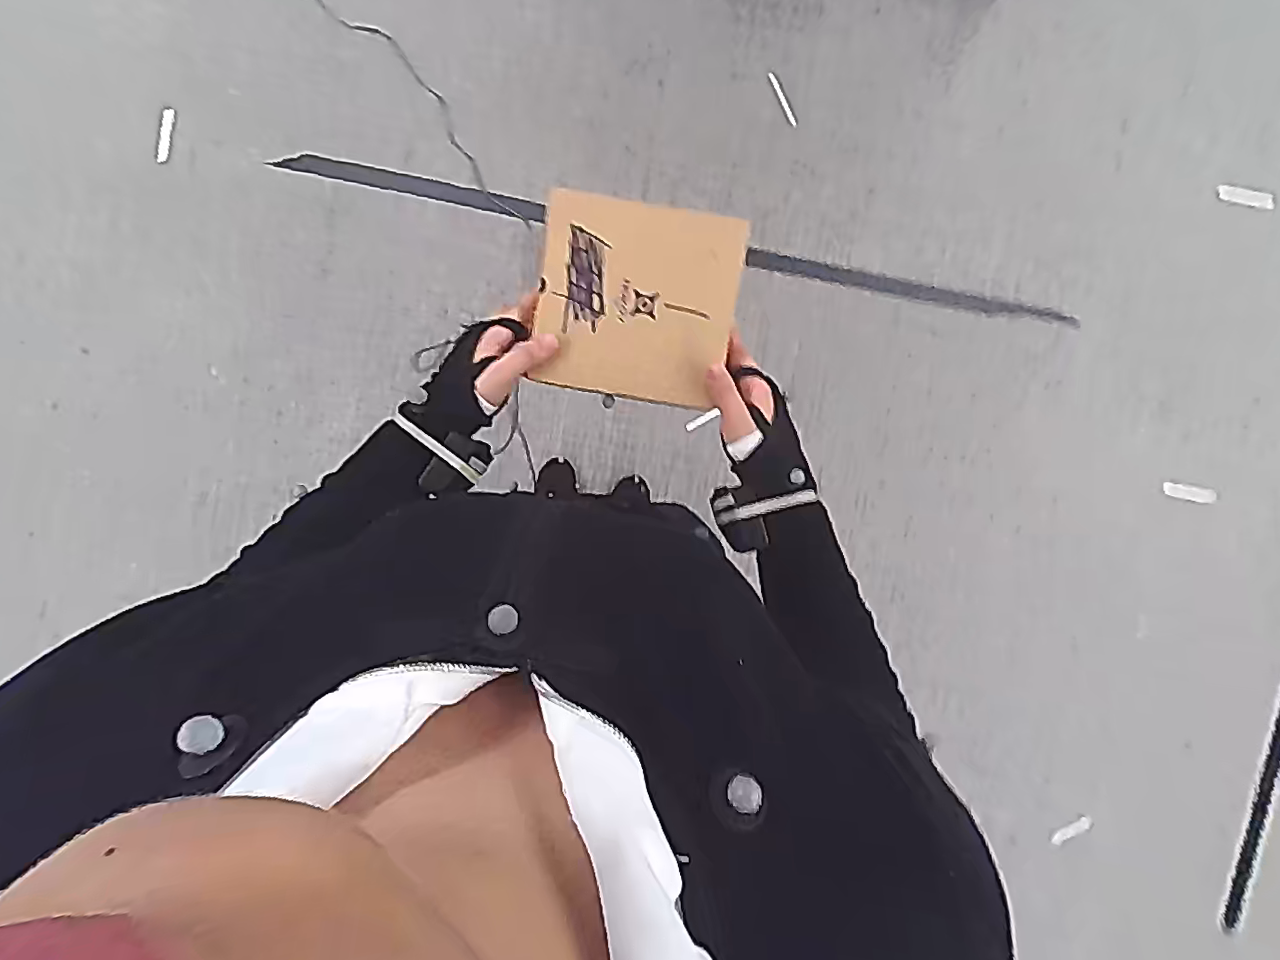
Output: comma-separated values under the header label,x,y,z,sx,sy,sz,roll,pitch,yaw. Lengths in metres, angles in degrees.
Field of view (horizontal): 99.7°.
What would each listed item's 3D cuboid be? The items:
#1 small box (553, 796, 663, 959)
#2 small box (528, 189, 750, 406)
label,x,y,z,sx,sy,sz,roll,pitch,yaw
small box,-0.056,0.707,0.968,0.168,0.176,0.179,7,89,-3
small box,-0.002,-0.170,0.559,0.179,0.176,0.168,10,98,-1
